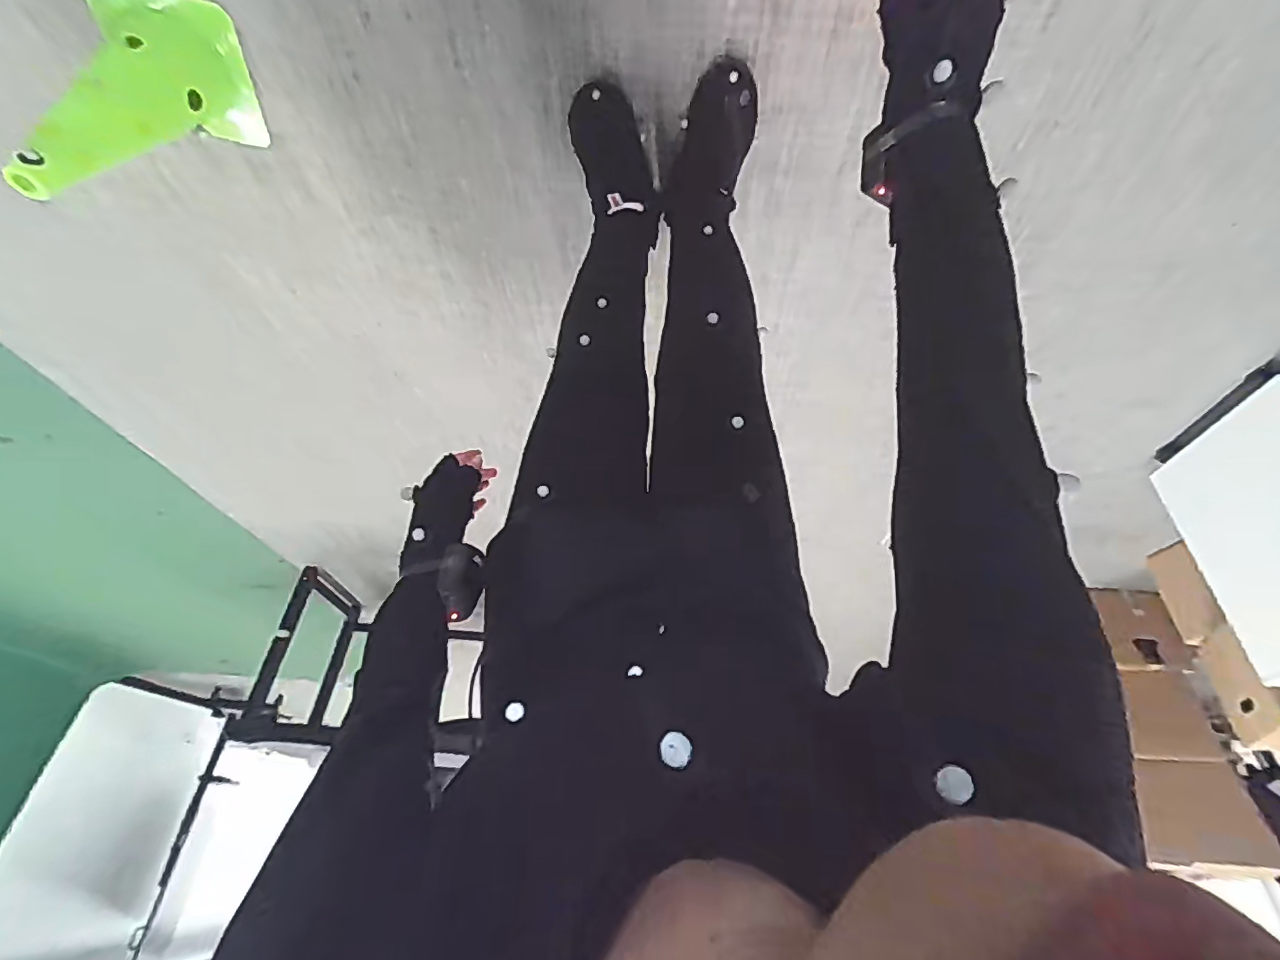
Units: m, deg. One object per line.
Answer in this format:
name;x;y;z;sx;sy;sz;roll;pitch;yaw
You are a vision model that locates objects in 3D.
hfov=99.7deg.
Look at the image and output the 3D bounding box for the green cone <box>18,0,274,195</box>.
green cone;-0.715;-0.506;0.749;0.202;0.368;0.200;9;145;-8
